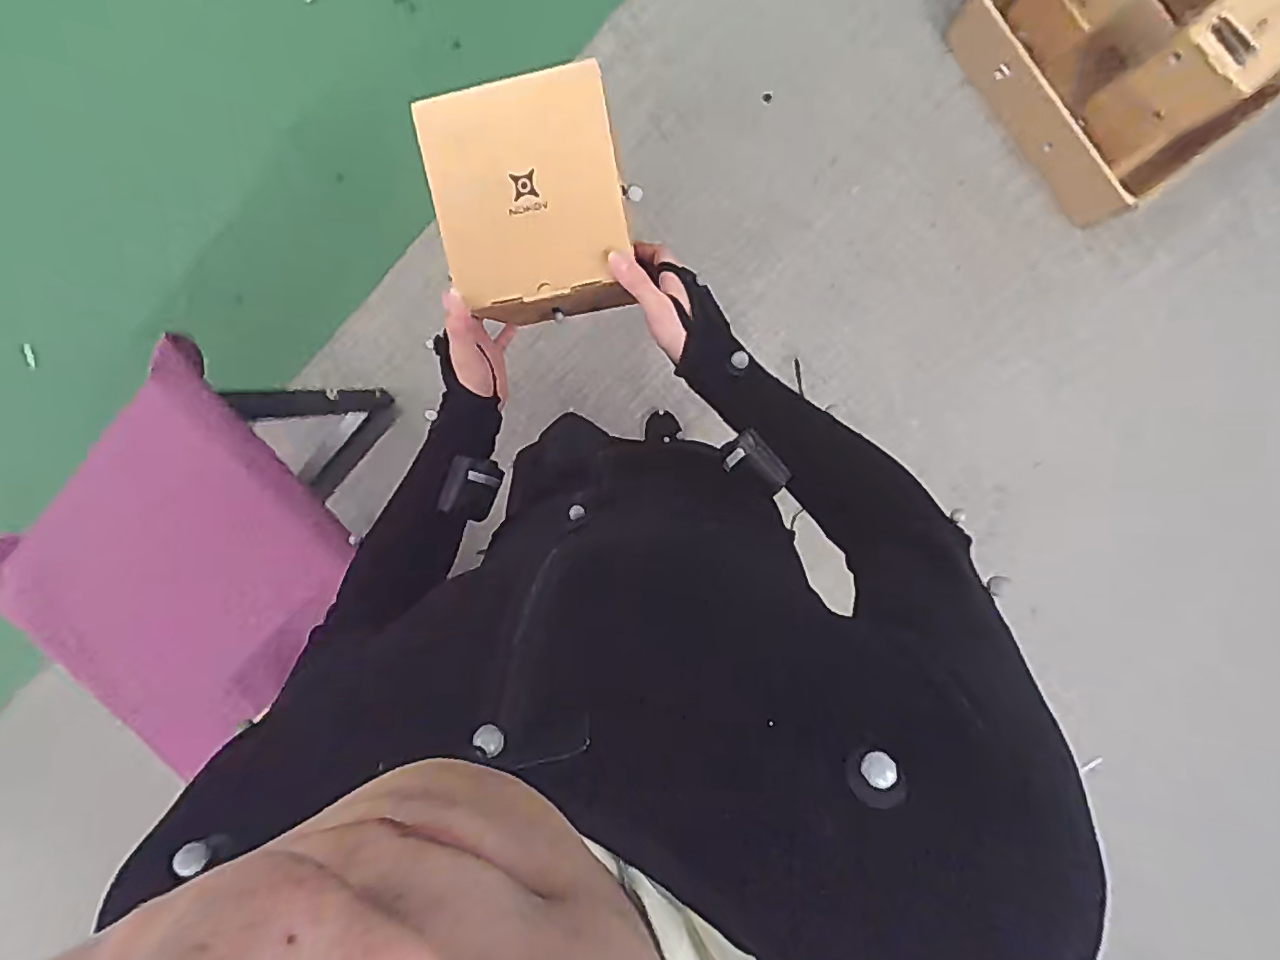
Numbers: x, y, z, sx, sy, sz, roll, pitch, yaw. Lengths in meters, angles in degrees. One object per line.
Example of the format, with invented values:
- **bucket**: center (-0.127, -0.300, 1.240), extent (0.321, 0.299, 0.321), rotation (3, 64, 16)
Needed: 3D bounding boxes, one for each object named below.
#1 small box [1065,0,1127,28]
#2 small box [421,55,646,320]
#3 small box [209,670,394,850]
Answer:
- **small box**: center (0.955, -1.054, 1.047), extent (0.179, 0.176, 0.168), rotation (-41, 92, 9)
- **small box**: center (-0.088, -0.267, 0.539), extent (0.168, 0.176, 0.179), rotation (-9, 102, 5)
- **small box**: center (-0.567, 0.470, 0.931), extent (0.168, 0.176, 0.179), rotation (45, 100, -2)
